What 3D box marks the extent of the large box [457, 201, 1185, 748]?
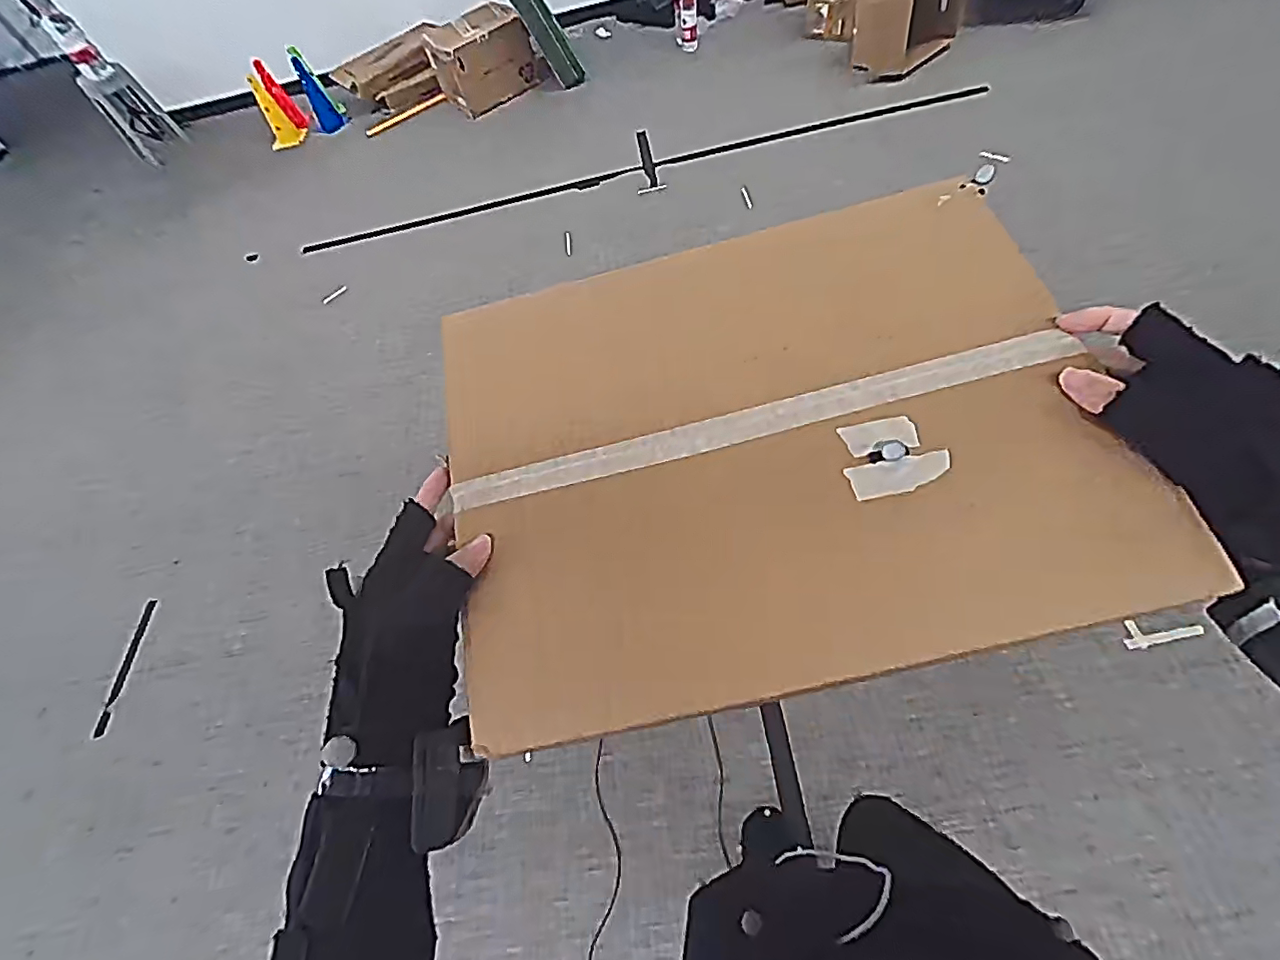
[{"bbox_3d":[0.096,0.027,0.497,0.408,0.320,0.320,-14,67,2],"label":"large box"}]
